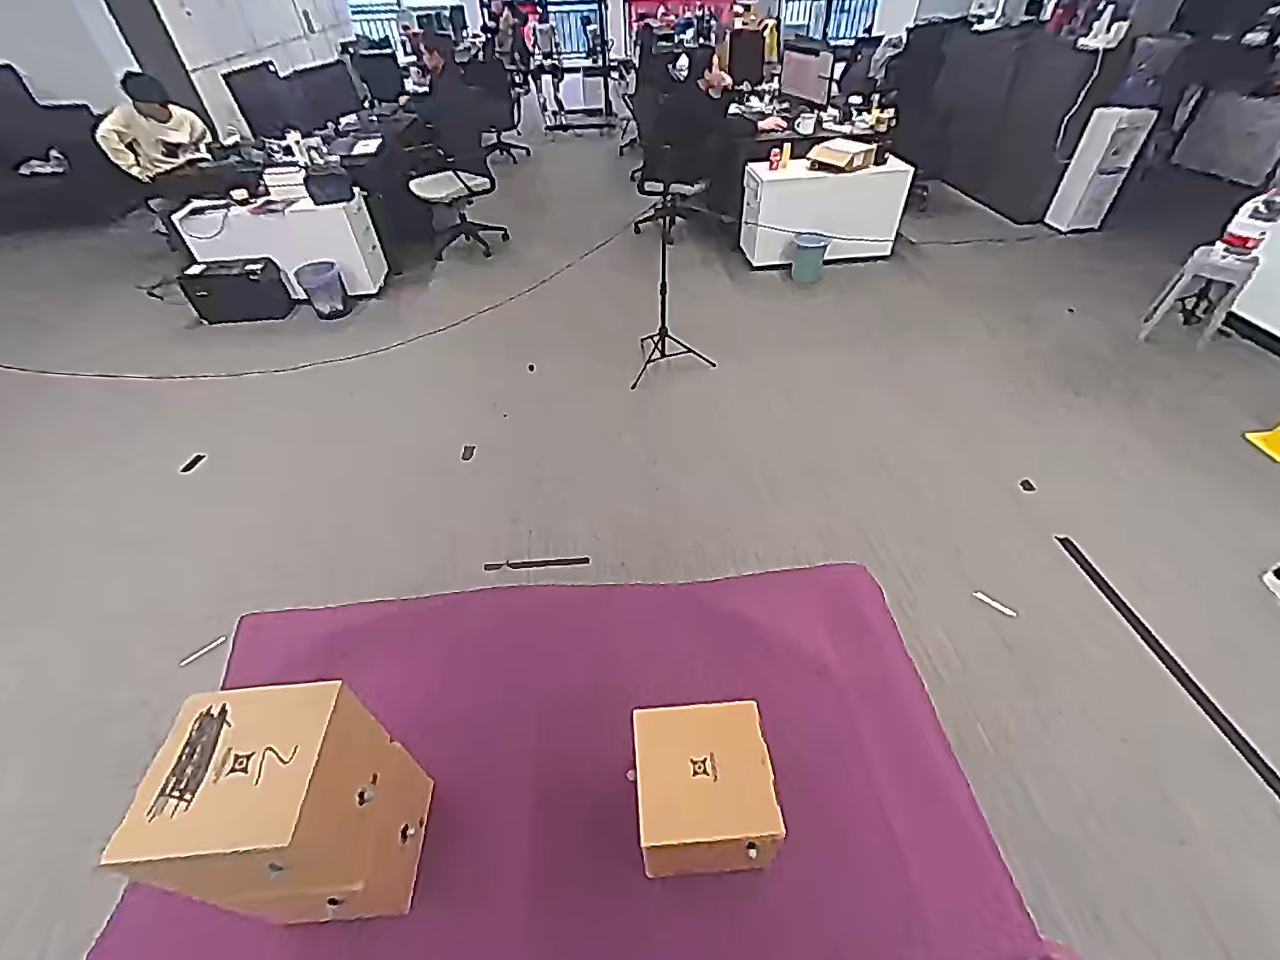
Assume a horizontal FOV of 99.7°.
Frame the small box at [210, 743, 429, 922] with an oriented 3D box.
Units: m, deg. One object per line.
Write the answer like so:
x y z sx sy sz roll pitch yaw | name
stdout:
-0.403 0.472 0.724 0.179 0.176 0.168 -3 44 -1 | small box

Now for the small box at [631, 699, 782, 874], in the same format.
0.083 0.427 0.752 0.179 0.176 0.168 -4 44 -2 | small box
